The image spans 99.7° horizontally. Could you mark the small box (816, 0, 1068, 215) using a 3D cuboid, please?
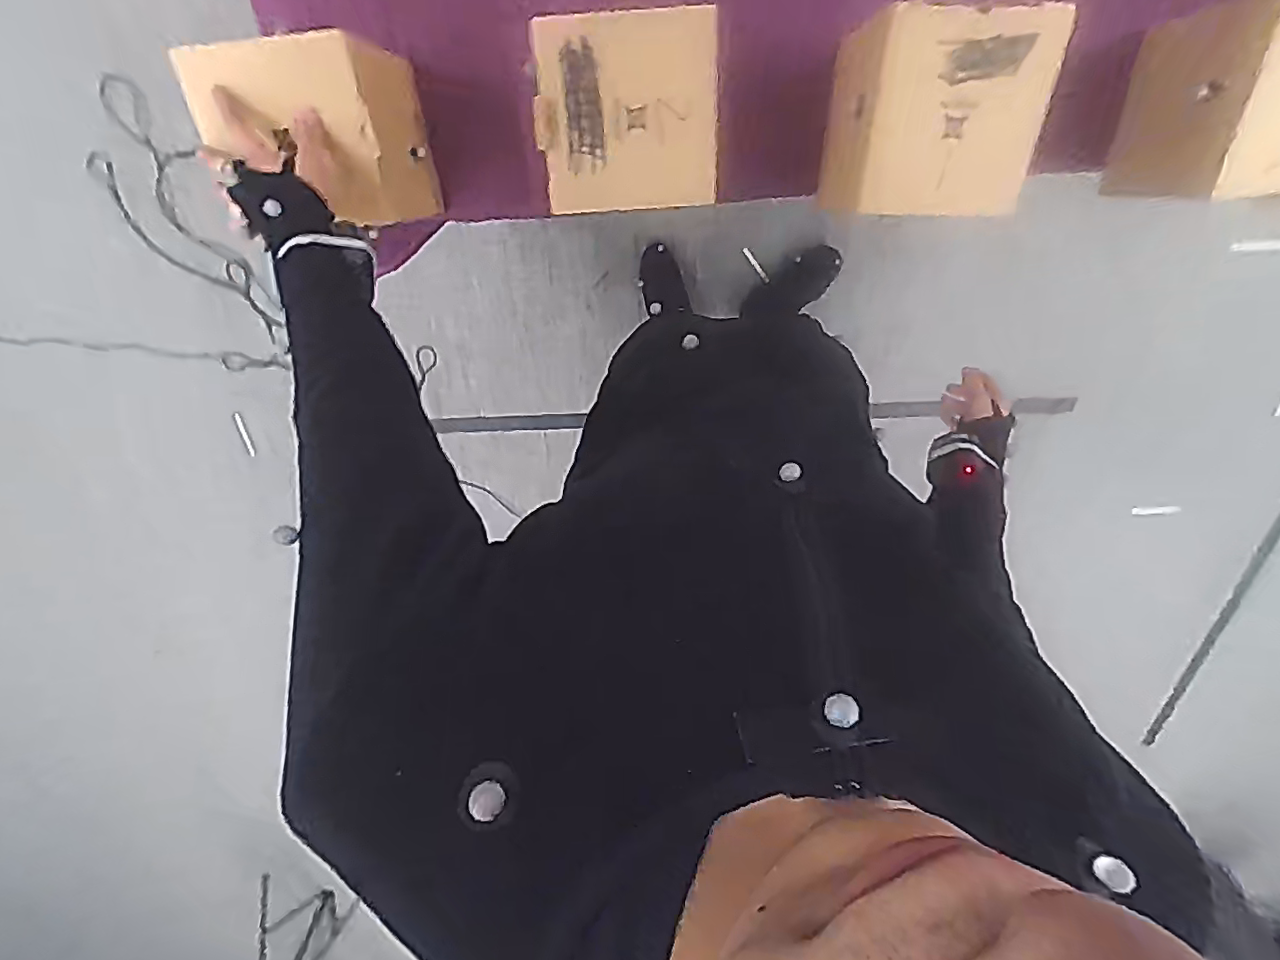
[{"bbox_3d":[0.307,-0.395,0.599,0.168,0.176,0.179,1,119,1],"label":"small box"}]

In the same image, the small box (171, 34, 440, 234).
[{"bbox_3d":[-0.358,-0.381,0.621,0.179,0.176,0.168,-5,118,2],"label":"small box"}]

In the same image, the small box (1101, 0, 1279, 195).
[{"bbox_3d":[0.657,-0.409,0.582,0.168,0.176,0.179,-2,119,4],"label":"small box"}]
